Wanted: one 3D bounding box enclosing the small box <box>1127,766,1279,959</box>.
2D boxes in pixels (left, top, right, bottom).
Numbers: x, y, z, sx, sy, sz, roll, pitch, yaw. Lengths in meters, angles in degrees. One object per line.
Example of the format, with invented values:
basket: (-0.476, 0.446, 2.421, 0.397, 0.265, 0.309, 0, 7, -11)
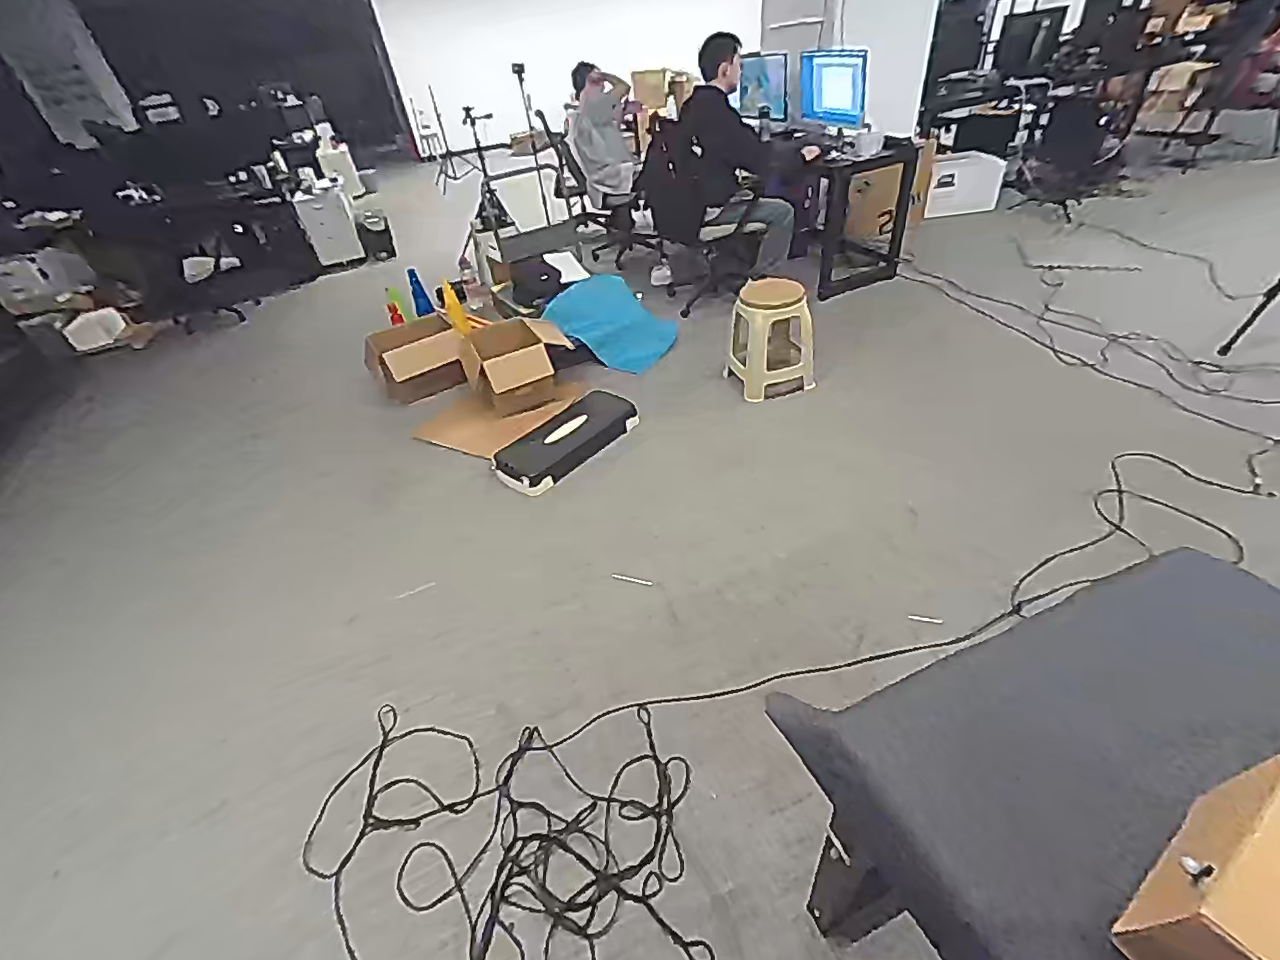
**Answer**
small box: (0.514, 0.338, 0.393, 0.179, 0.176, 0.168, -36, 47, -17)
